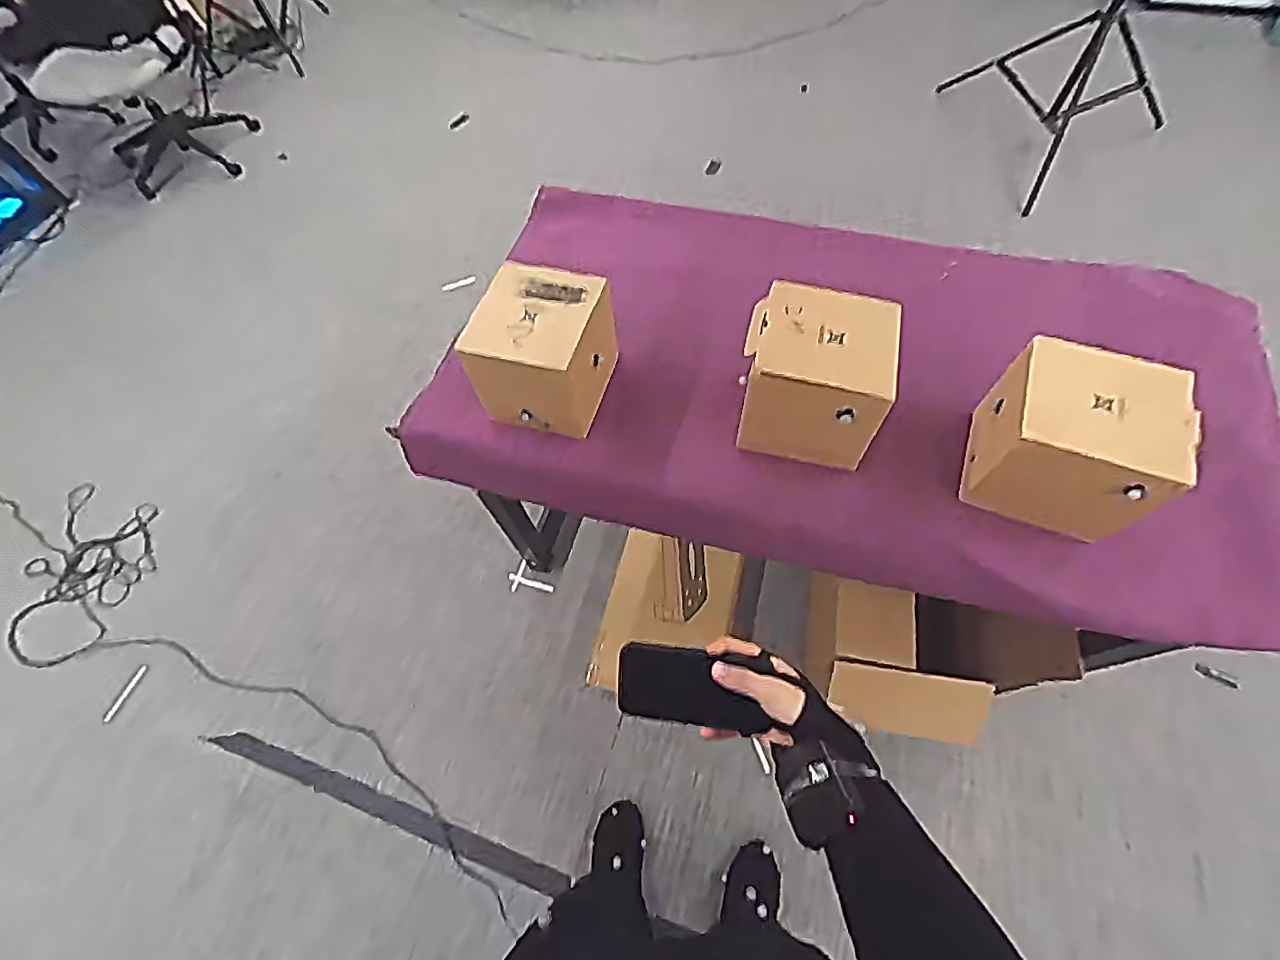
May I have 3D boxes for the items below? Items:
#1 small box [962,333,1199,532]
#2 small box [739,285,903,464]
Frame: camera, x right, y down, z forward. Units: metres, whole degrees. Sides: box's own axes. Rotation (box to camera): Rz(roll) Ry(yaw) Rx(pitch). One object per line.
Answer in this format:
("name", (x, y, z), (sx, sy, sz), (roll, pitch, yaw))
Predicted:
("small box", (0.545, -0.054, 0.693), (0.179, 0.176, 0.168), (19, 64, 13))
("small box", (0.246, -0.142, 0.760), (0.179, 0.176, 0.168), (12, 61, 10))
